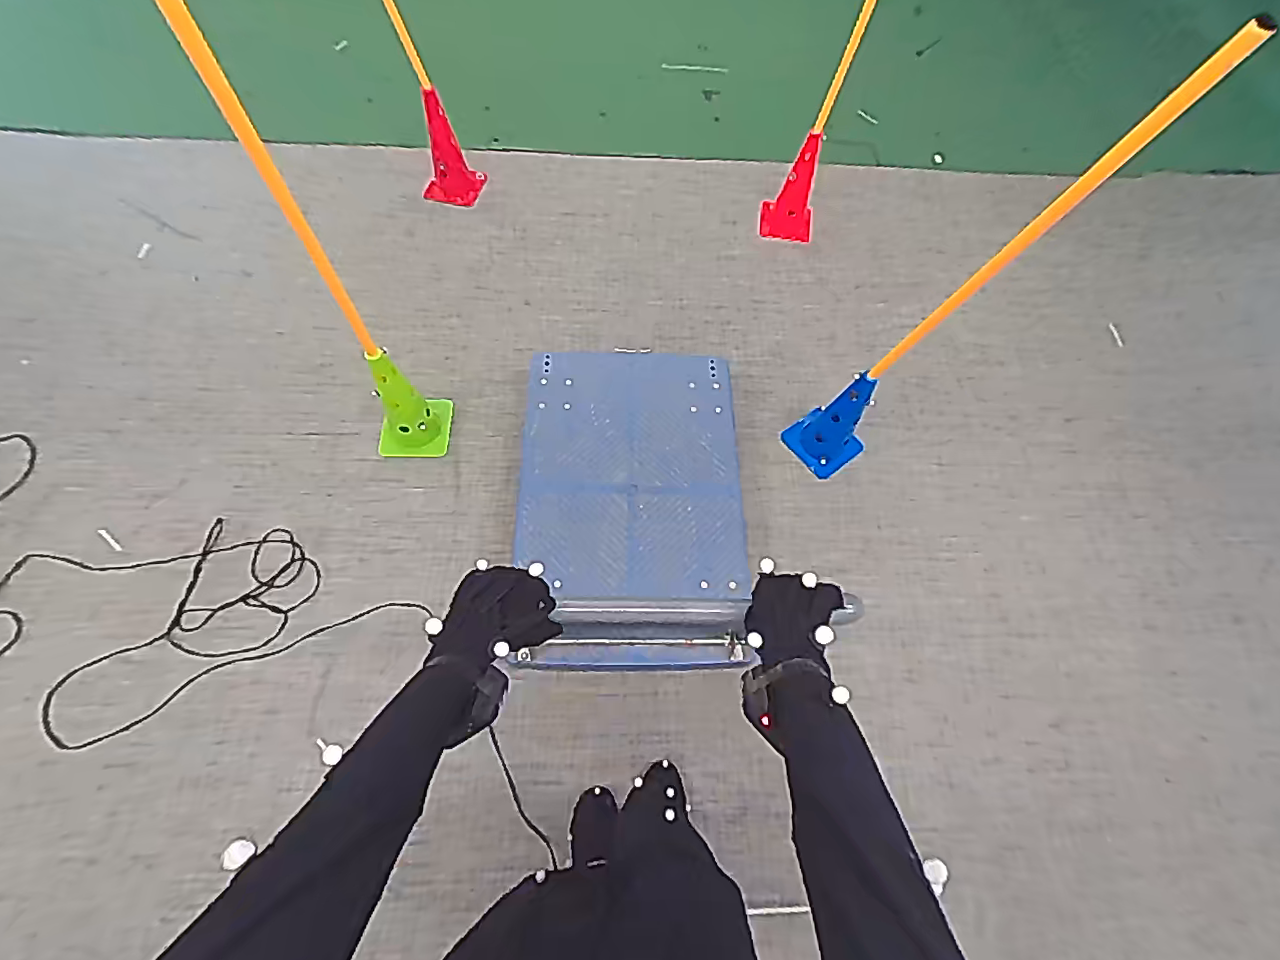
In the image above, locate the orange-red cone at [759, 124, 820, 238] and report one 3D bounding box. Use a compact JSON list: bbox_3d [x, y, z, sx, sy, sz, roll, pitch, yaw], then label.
[{"bbox_3d":[0.572,-1.087,1.941,0.198,0.360,0.199,10,66,3],"label":"orange-red cone"}]
